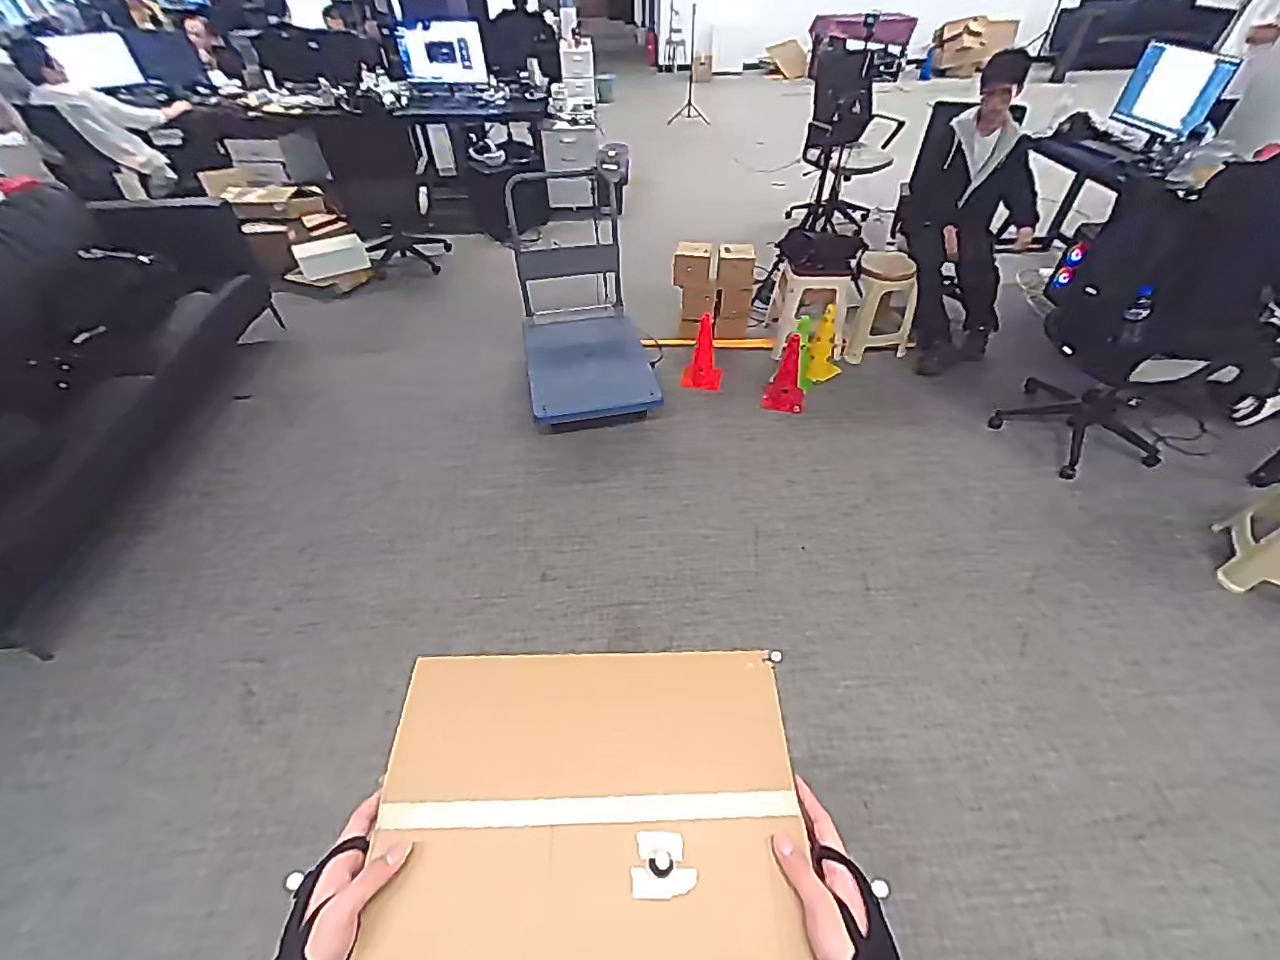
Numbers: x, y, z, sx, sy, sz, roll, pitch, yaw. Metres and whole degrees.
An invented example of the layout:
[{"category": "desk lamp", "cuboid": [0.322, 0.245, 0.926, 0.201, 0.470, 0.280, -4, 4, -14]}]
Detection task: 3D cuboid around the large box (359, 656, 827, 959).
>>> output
[{"category": "large box", "cuboid": [-0.048, 0.425, 0.640, 0.408, 0.320, 0.320, 0, 49, -2]}]
